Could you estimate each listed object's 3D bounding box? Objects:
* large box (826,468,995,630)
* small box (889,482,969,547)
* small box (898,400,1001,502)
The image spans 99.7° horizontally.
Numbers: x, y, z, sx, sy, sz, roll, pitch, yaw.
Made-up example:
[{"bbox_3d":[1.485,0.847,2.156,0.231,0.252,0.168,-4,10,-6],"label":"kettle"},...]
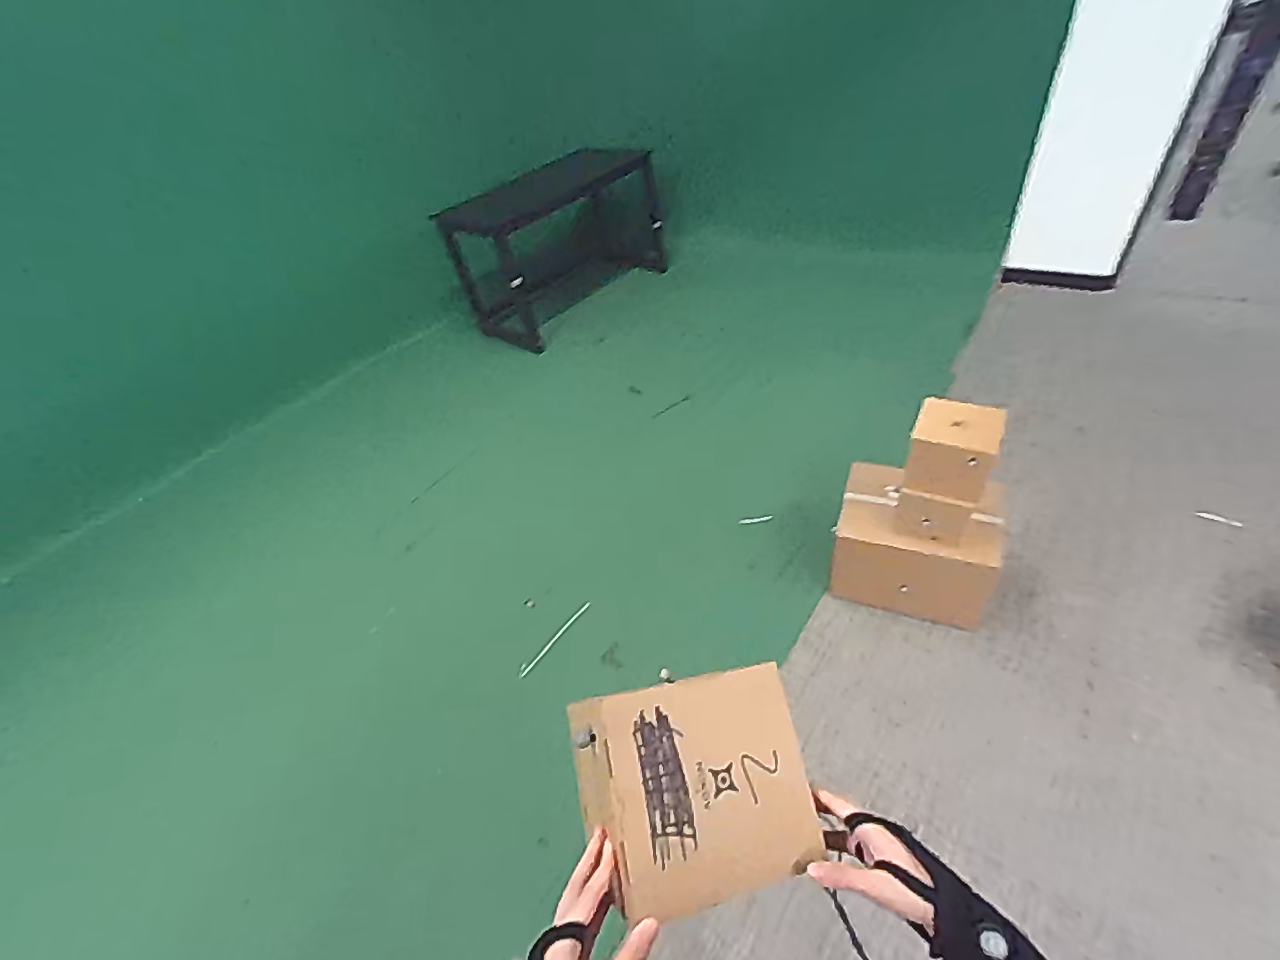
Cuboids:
[{"bbox_3d":[0.797,0.200,1.624,0.408,0.320,0.320,10,46,24],"label":"large box"},{"bbox_3d":[0.768,0.050,1.428,0.168,0.176,0.179,16,50,26],"label":"small box"},{"bbox_3d":[0.749,-0.070,1.319,0.179,0.176,0.168,17,51,27],"label":"small box"}]
